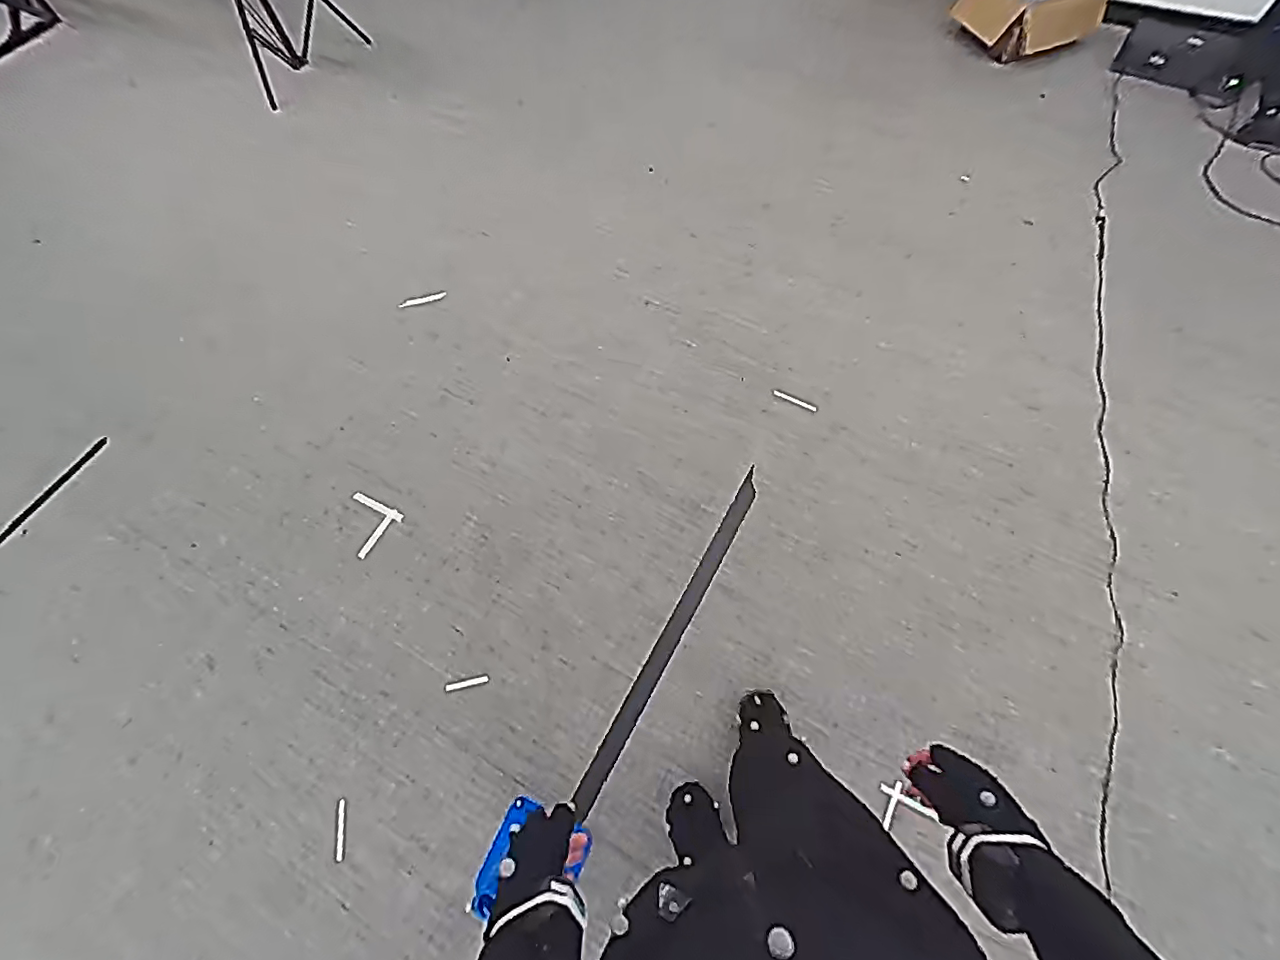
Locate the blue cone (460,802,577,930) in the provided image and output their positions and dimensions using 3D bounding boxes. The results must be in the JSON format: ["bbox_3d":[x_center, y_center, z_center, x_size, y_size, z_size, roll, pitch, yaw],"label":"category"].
[{"bbox_3d":[-0.253,0.760,1.027,0.192,0.380,0.193,22,66,14],"label":"blue cone"}]
